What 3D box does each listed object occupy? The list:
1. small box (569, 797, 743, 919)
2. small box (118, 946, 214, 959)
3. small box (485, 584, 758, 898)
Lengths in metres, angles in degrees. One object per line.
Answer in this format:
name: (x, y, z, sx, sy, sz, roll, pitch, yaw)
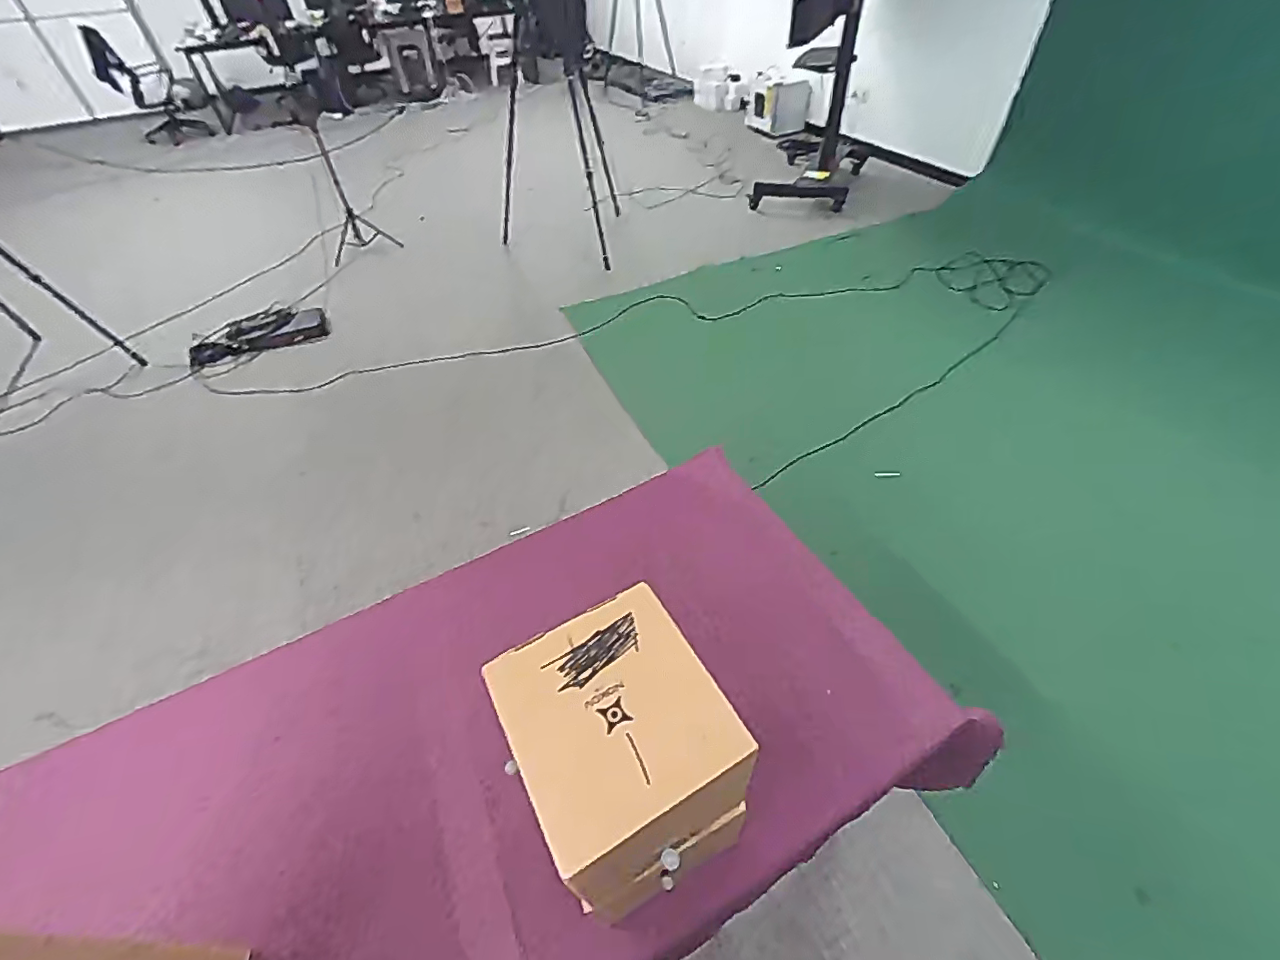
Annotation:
small box: (-0.005, 0.353, 0.607, 0.179, 0.176, 0.168, -23, 50, -17)
small box: (-0.465, 0.549, 0.459, 0.168, 0.176, 0.179, -23, 50, -17)
small box: (-0.018, 0.236, 0.492, 0.168, 0.176, 0.179, -25, 51, -18)
